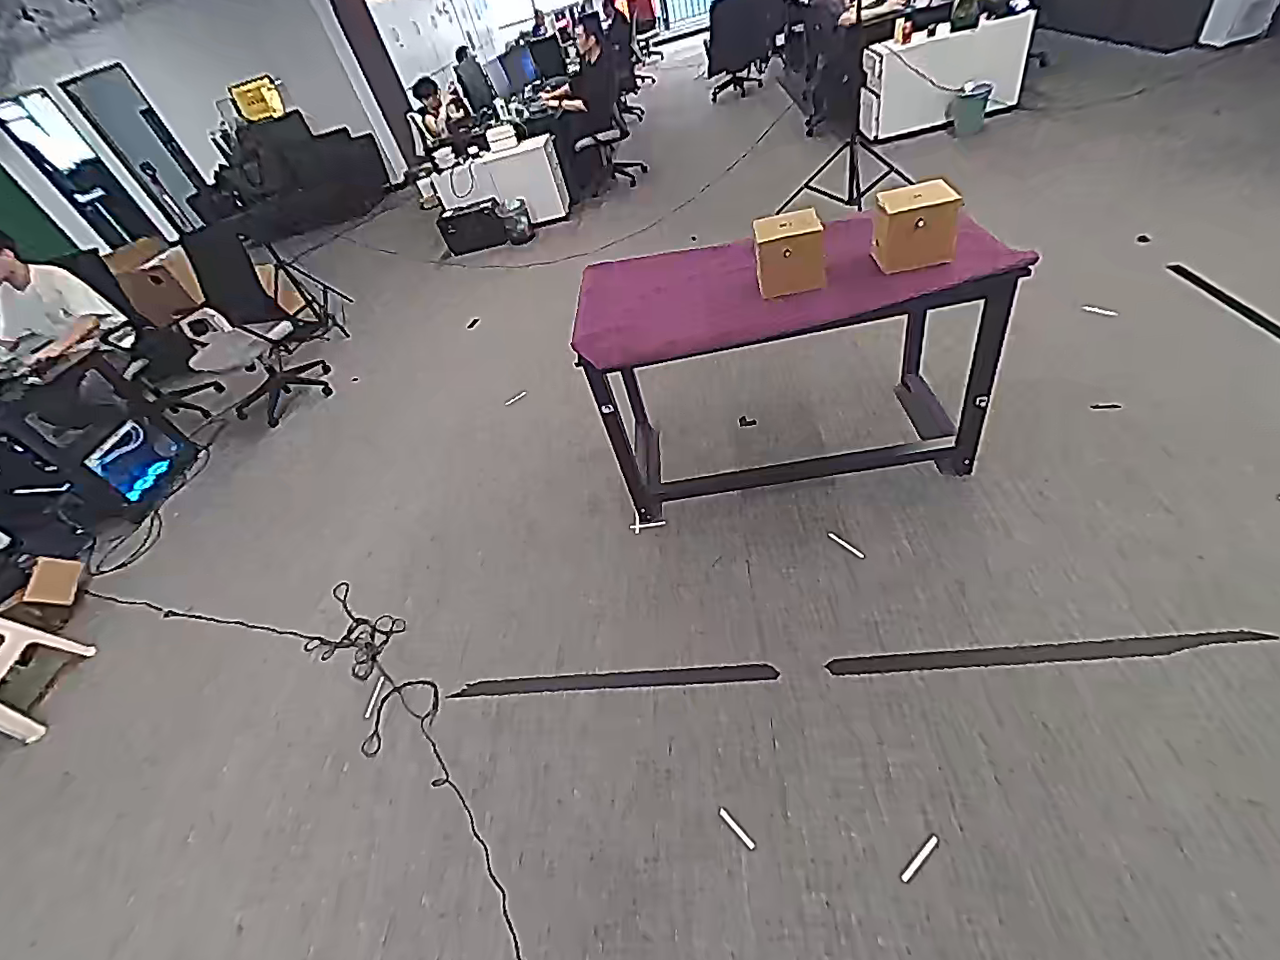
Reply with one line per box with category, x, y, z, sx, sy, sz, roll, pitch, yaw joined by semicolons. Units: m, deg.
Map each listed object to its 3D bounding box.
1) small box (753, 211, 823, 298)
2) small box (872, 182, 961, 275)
small box;0.425;-0.642;1.552;0.179;0.176;0.168;-7;44;12
small box;0.752;-0.689;1.488;0.179;0.176;0.168;-8;42;13
